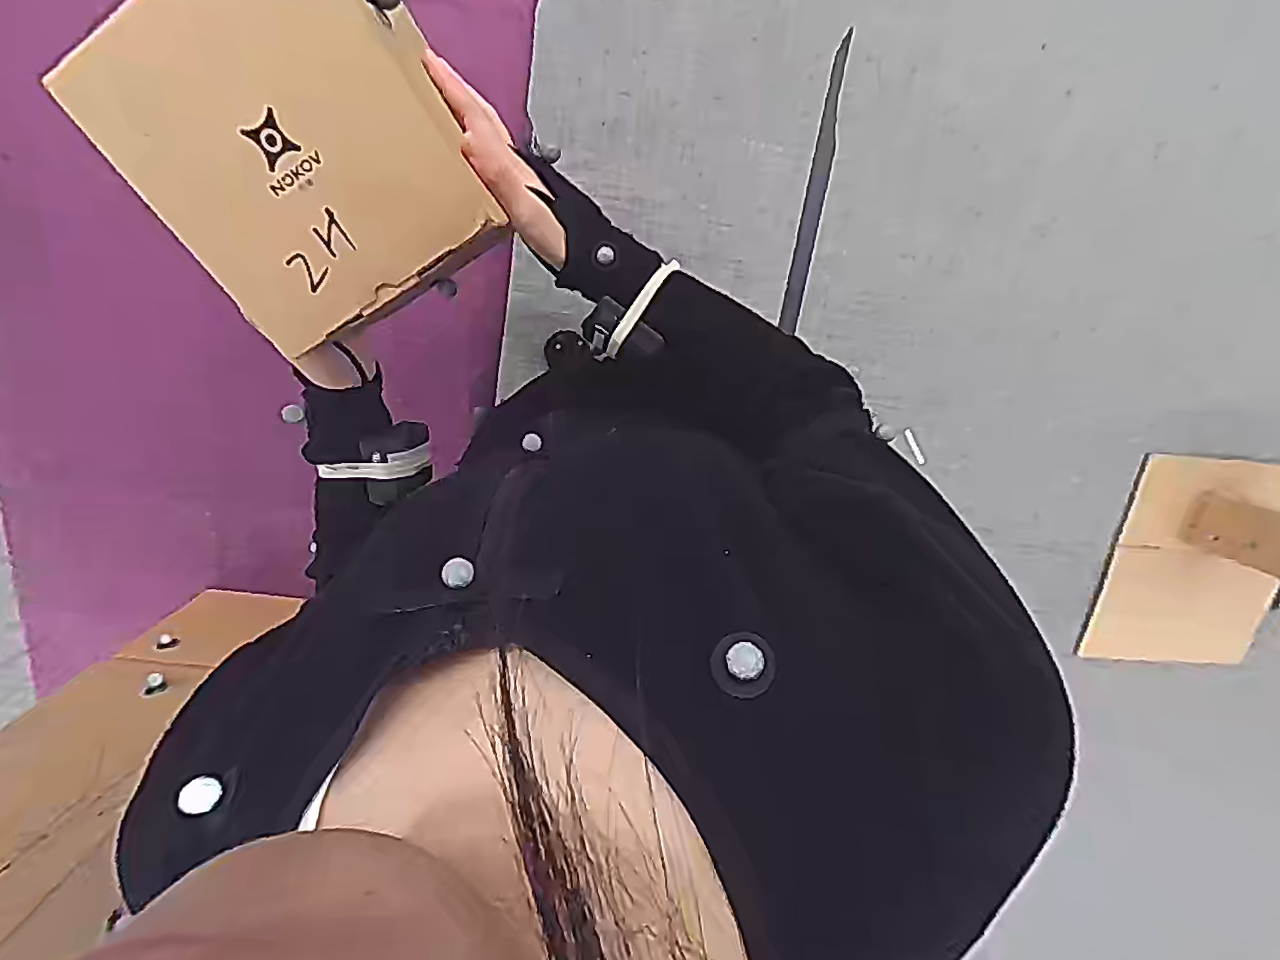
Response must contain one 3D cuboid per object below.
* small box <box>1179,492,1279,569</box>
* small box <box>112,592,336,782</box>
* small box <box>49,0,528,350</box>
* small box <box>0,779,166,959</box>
[{"bbox_3d":[1.777,0.143,1.601,0.179,0.176,0.168,8,107,-7],"label":"small box"},{"bbox_3d":[-0.525,0.263,0.713,0.179,0.176,0.168,7,105,-6],"label":"small box"},{"bbox_3d":[-0.200,-0.218,0.371,0.168,0.176,0.179,-28,114,11],"label":"small box"},{"bbox_3d":[-0.507,0.350,0.396,0.179,0.176,0.168,7,105,-7],"label":"small box"}]
